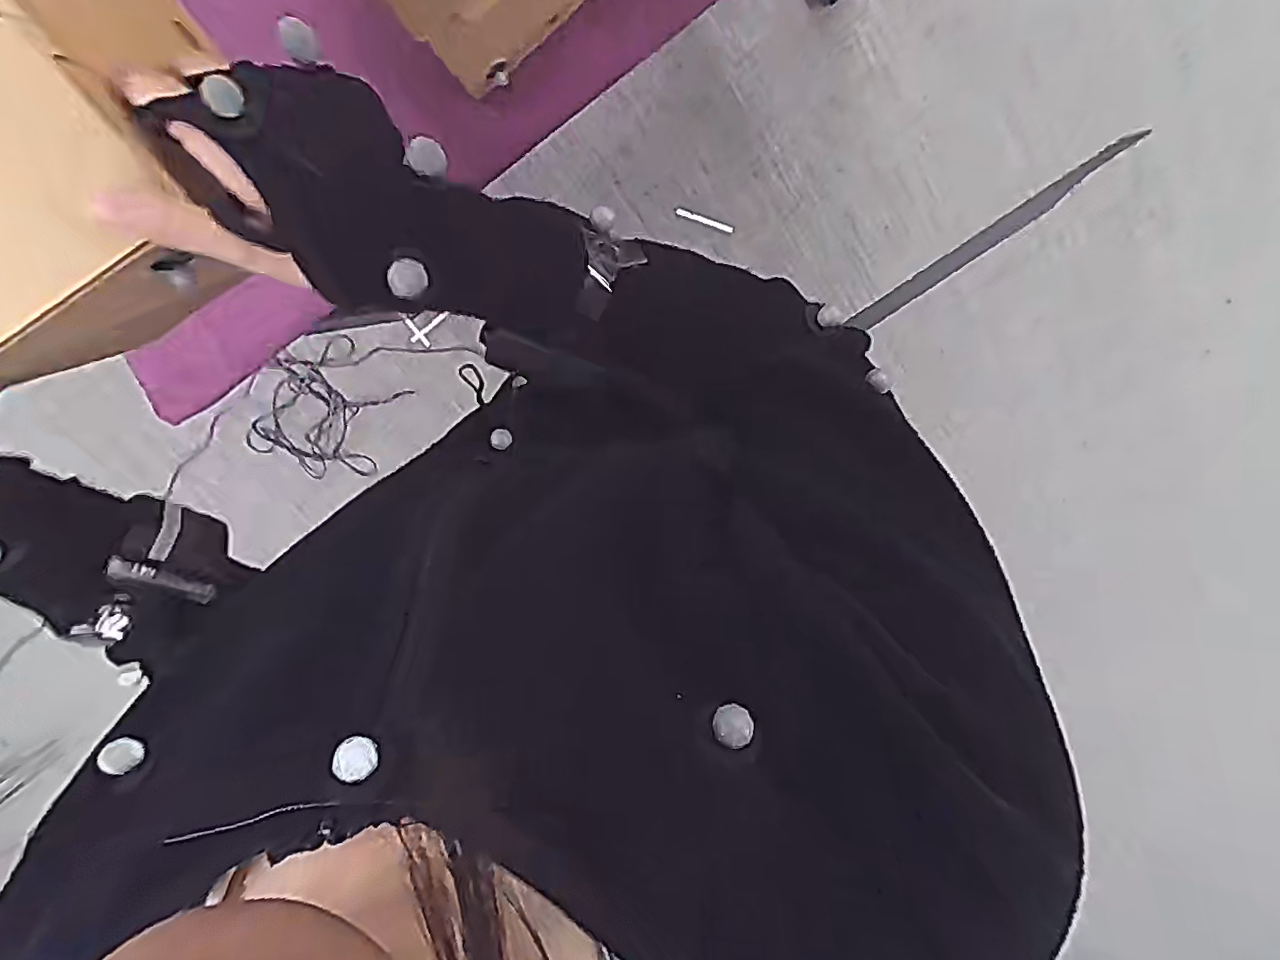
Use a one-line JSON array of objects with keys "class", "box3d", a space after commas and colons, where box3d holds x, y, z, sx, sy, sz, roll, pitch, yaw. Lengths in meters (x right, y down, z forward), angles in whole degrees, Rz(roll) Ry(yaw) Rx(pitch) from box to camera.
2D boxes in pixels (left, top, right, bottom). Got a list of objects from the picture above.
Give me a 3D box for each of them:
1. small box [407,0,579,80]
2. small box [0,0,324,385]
[{"class": "small box", "box3d": [-0.149, -0.465, 0.431, 0.168, 0.176, 0.179, -36, 106, 11]}, {"class": "small box", "box3d": [-0.298, -0.159, 0.258, 0.179, 0.176, 0.168, -30, 118, 6]}]
